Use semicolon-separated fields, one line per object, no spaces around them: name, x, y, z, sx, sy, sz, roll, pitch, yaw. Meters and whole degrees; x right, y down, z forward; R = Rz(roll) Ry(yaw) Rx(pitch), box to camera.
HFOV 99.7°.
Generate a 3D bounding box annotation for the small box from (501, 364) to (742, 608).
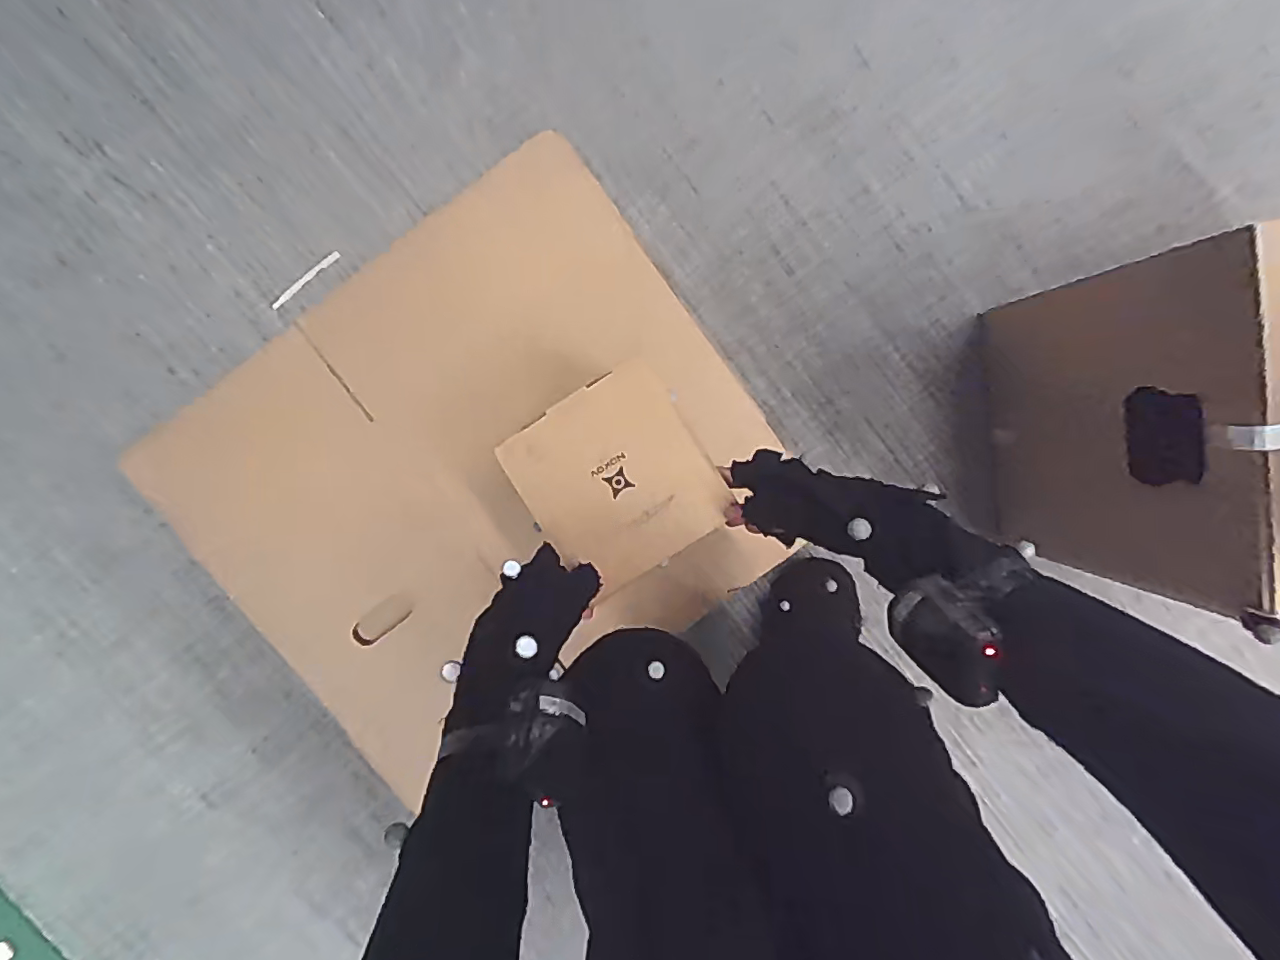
small box;-0.017;0.008;0.581;0.168;0.176;0.179;-34;88;1
